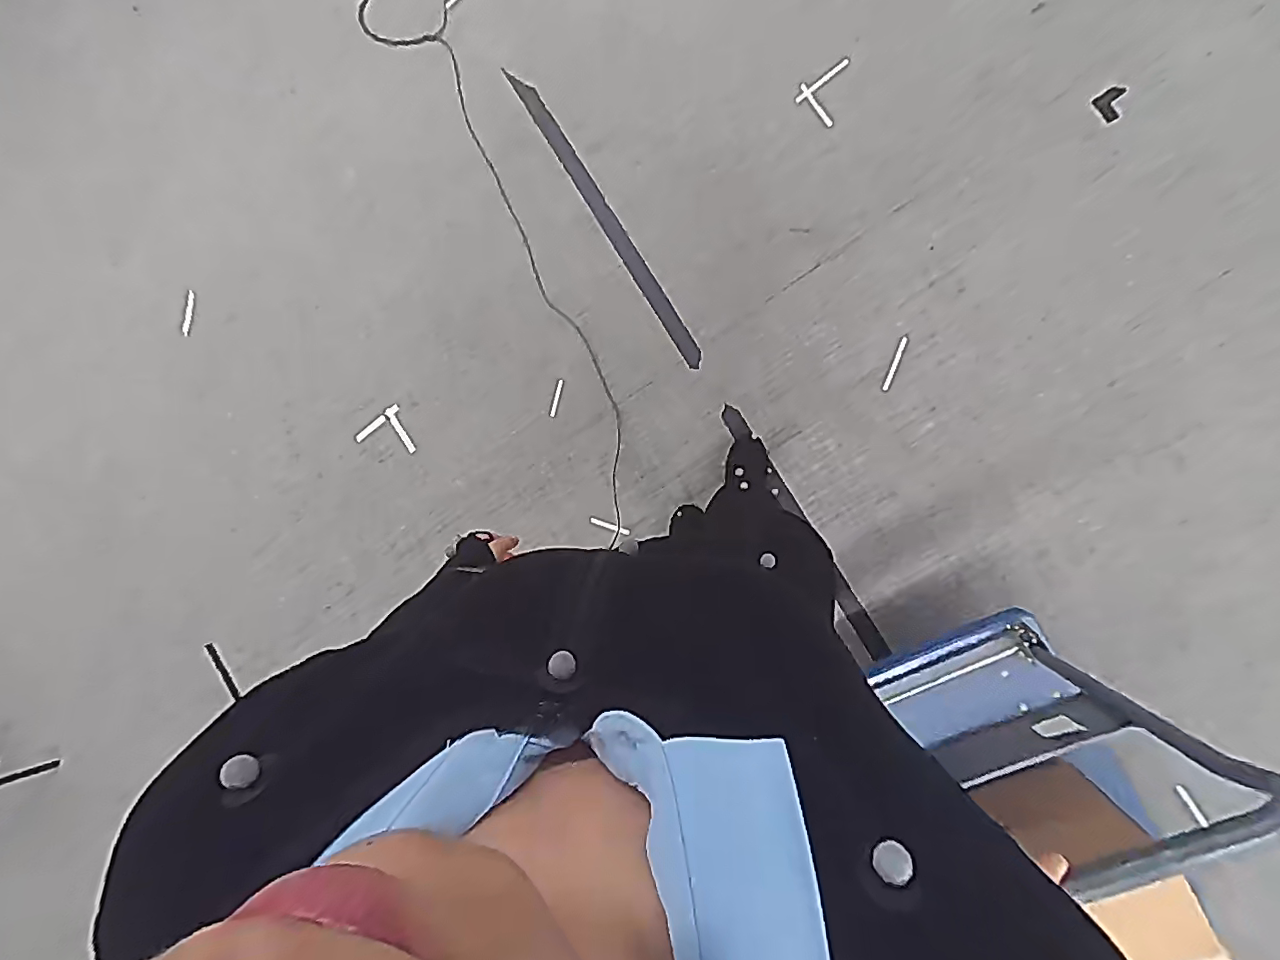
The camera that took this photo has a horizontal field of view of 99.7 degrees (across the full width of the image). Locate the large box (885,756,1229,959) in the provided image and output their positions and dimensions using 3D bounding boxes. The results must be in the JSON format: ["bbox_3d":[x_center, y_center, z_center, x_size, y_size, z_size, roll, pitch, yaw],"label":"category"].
[{"bbox_3d":[0.757,0.806,1.025,0.408,0.320,0.320,-27,86,10],"label":"large box"}]
